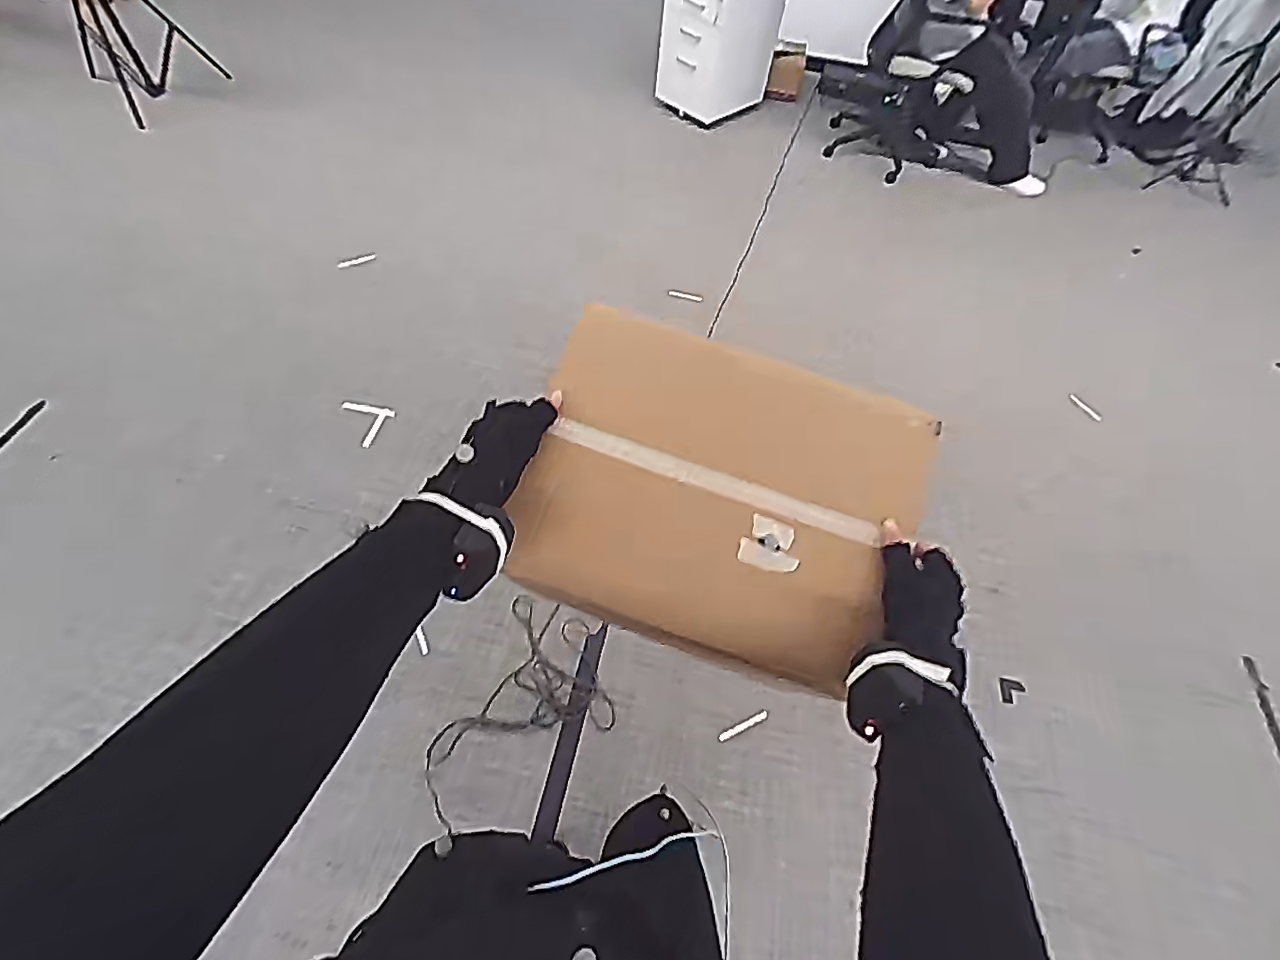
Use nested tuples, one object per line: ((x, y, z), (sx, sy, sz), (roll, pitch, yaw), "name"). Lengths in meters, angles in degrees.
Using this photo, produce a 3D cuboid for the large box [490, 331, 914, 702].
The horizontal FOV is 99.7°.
((0.071, 0.066, 0.723), (0.408, 0.320, 0.320), (20, 73, 3), "large box")
